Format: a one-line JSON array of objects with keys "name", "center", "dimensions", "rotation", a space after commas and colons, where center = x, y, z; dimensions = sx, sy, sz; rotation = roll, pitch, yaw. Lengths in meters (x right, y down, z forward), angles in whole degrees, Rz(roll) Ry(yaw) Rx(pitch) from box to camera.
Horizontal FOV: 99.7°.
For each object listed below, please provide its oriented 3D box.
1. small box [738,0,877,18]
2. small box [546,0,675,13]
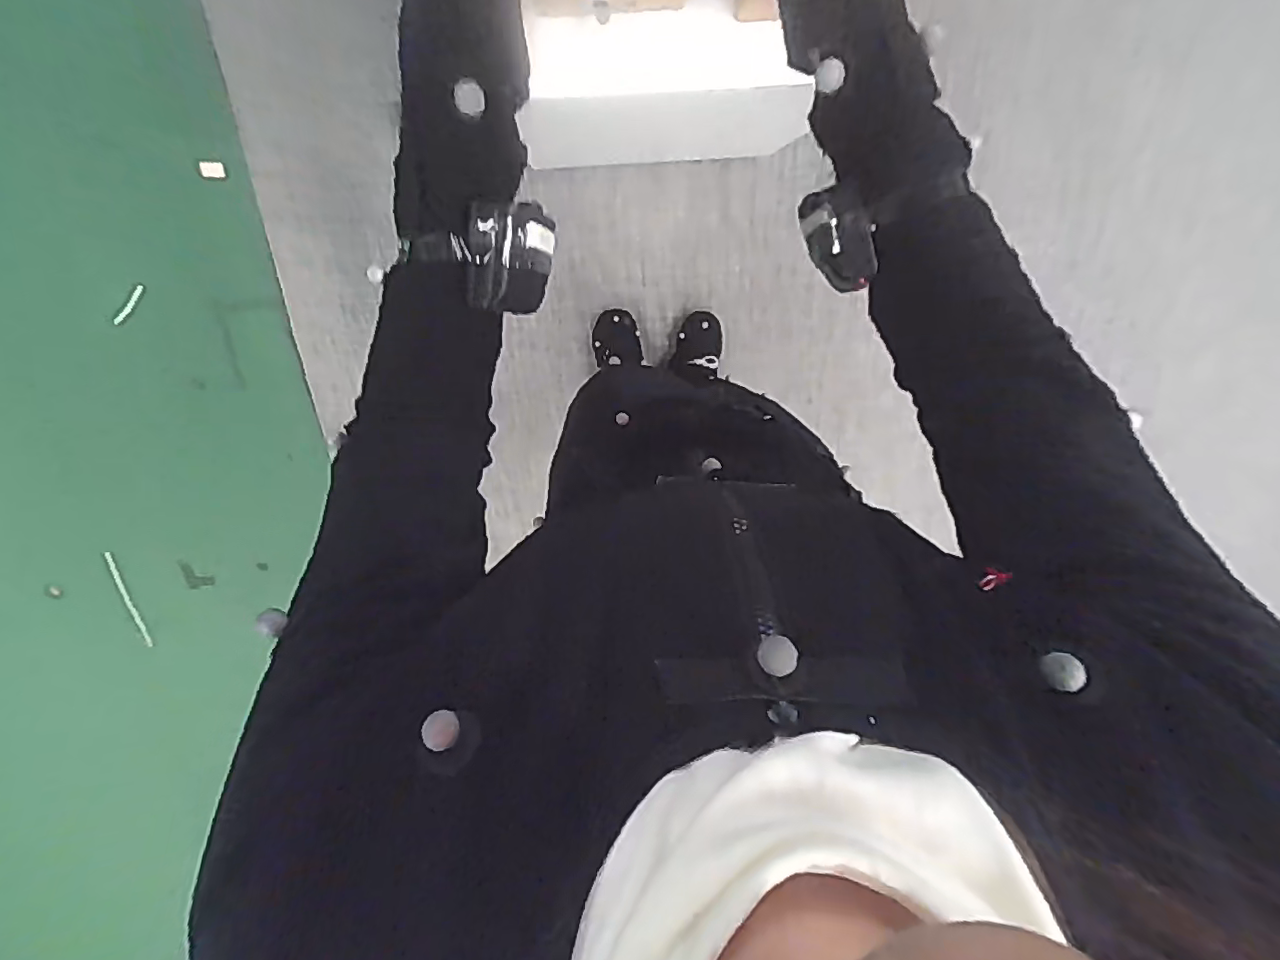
[{"name": "small box", "center": [0.188, -0.587, 0.517], "dimensions": [0.168, 0.176, 0.179], "rotation": [-5, 112, -2]}, {"name": "small box", "center": [-0.031, -0.575, 0.495], "dimensions": [0.168, 0.176, 0.179], "rotation": [-6, 114, -1]}]
